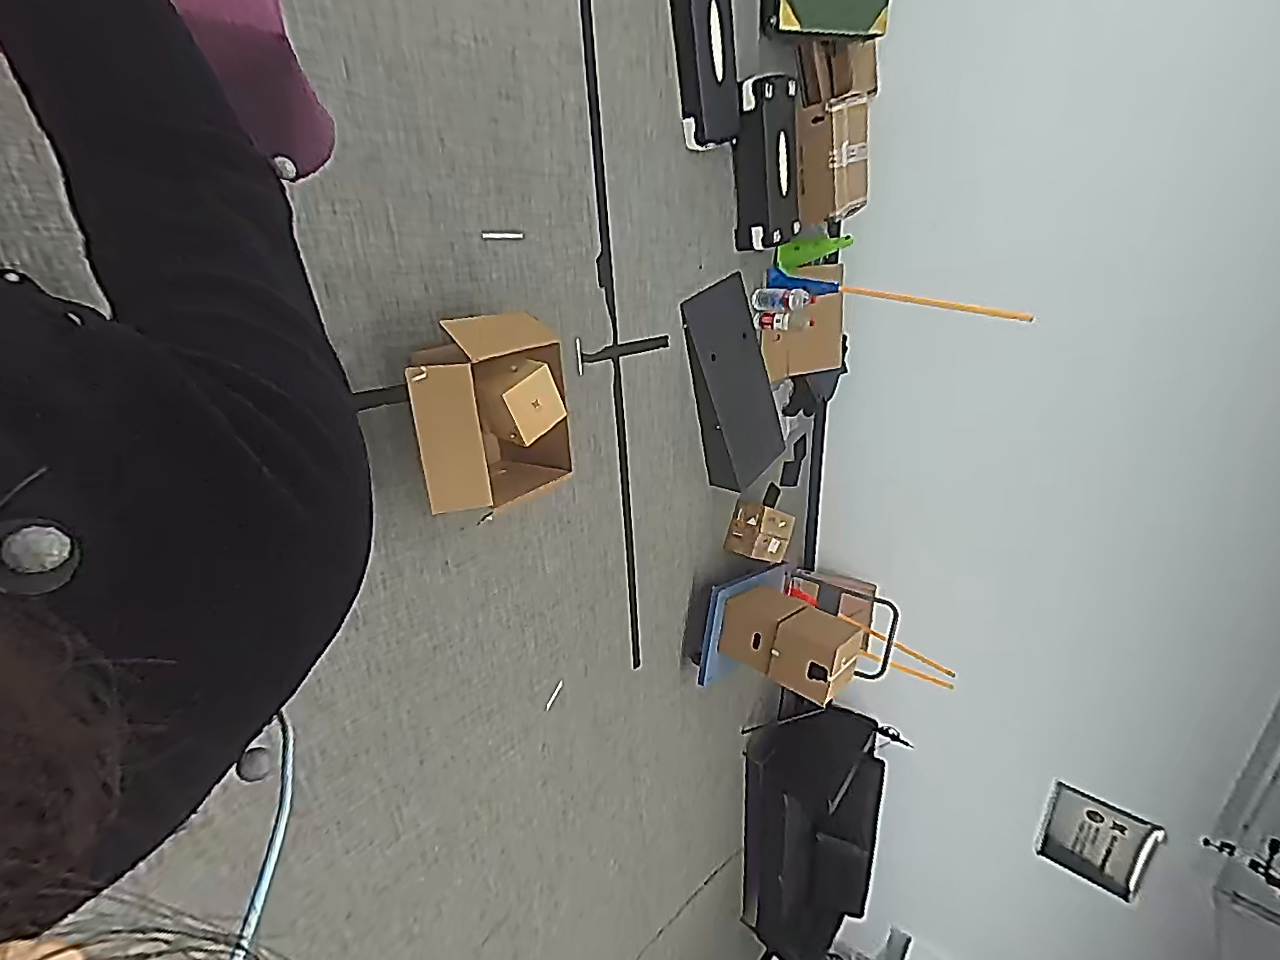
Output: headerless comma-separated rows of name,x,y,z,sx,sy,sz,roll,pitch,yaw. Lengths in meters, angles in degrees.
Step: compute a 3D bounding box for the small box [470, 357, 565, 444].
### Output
small box,-0.347,-0.232,1.526,0.168,0.176,0.179,-45,137,-28
